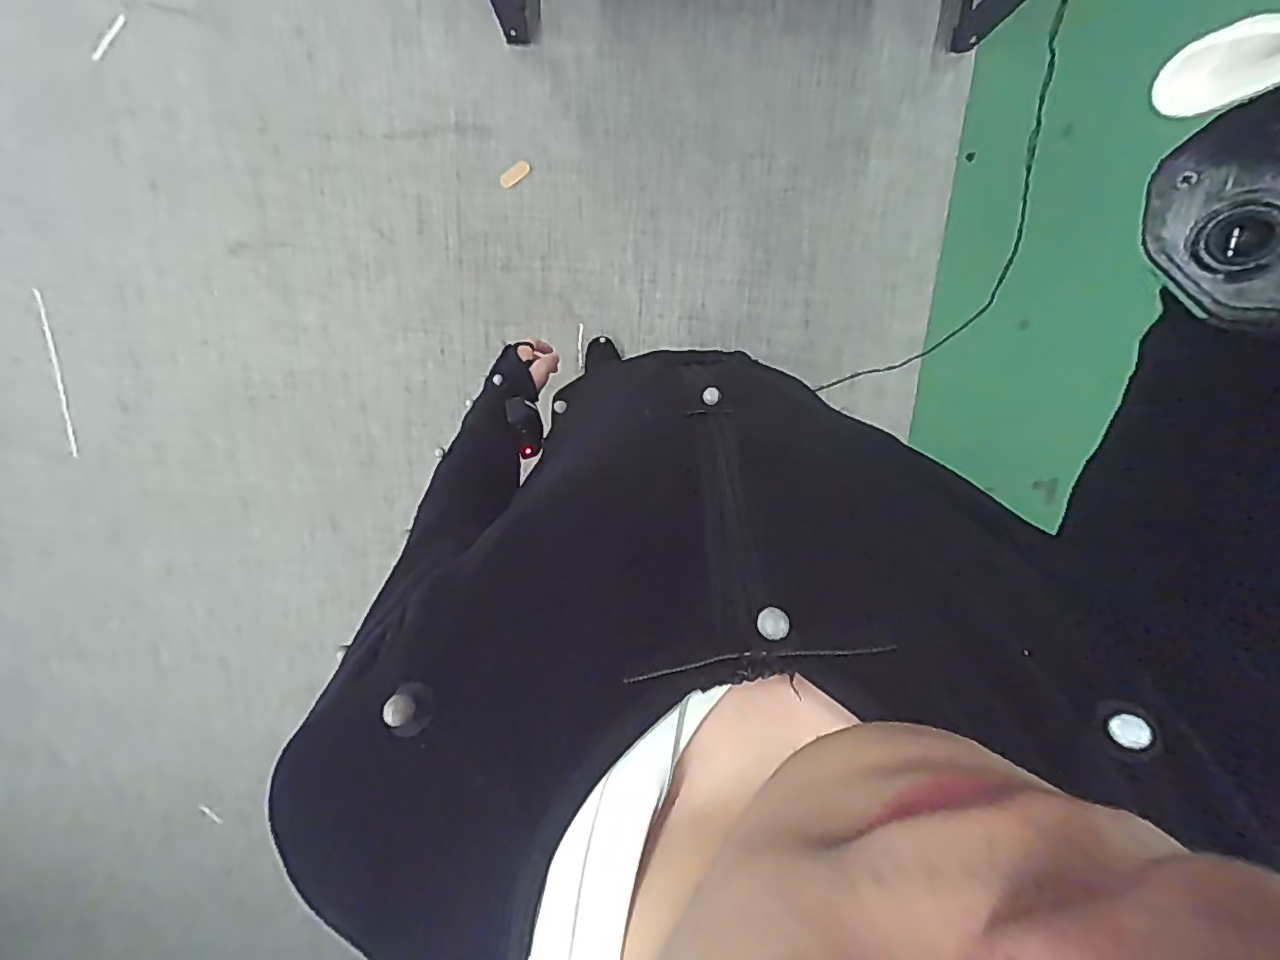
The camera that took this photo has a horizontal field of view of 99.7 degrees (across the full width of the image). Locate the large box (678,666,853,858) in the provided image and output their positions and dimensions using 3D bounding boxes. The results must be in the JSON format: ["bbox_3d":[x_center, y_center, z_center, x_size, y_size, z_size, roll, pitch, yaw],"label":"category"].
[{"bbox_3d":[0.374,0.871,1.705,0.408,0.320,0.320,-29,102,5],"label":"large box"}]
